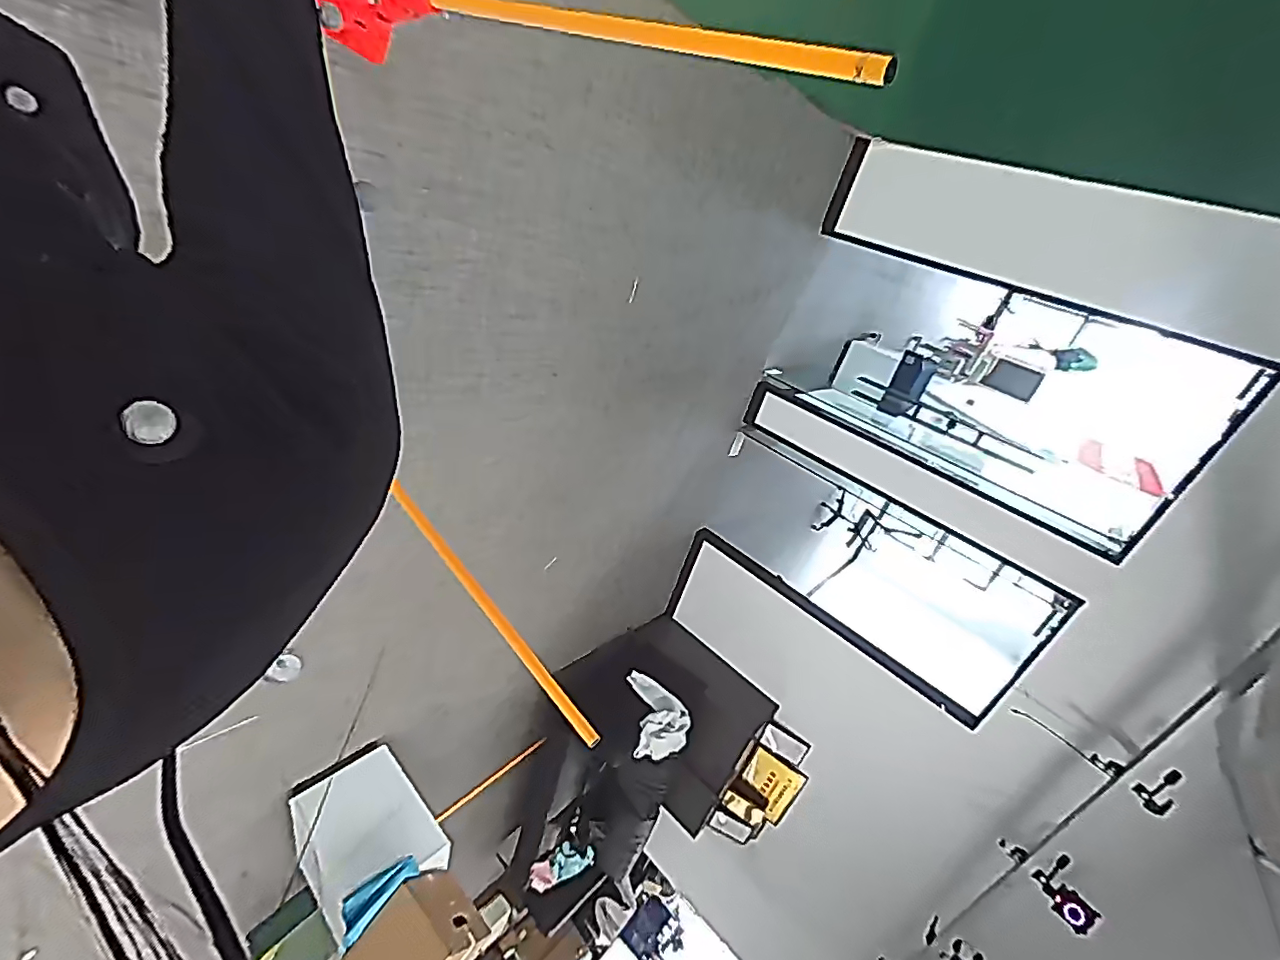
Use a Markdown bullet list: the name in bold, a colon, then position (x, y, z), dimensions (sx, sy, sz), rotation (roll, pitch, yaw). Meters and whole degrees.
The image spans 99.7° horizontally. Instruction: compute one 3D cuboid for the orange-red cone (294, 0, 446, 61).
- **orange-red cone**: position (-0.481, -0.942, 1.042), dimensions (0.198, 0.360, 0.199), rotation (0, 120, -55)
